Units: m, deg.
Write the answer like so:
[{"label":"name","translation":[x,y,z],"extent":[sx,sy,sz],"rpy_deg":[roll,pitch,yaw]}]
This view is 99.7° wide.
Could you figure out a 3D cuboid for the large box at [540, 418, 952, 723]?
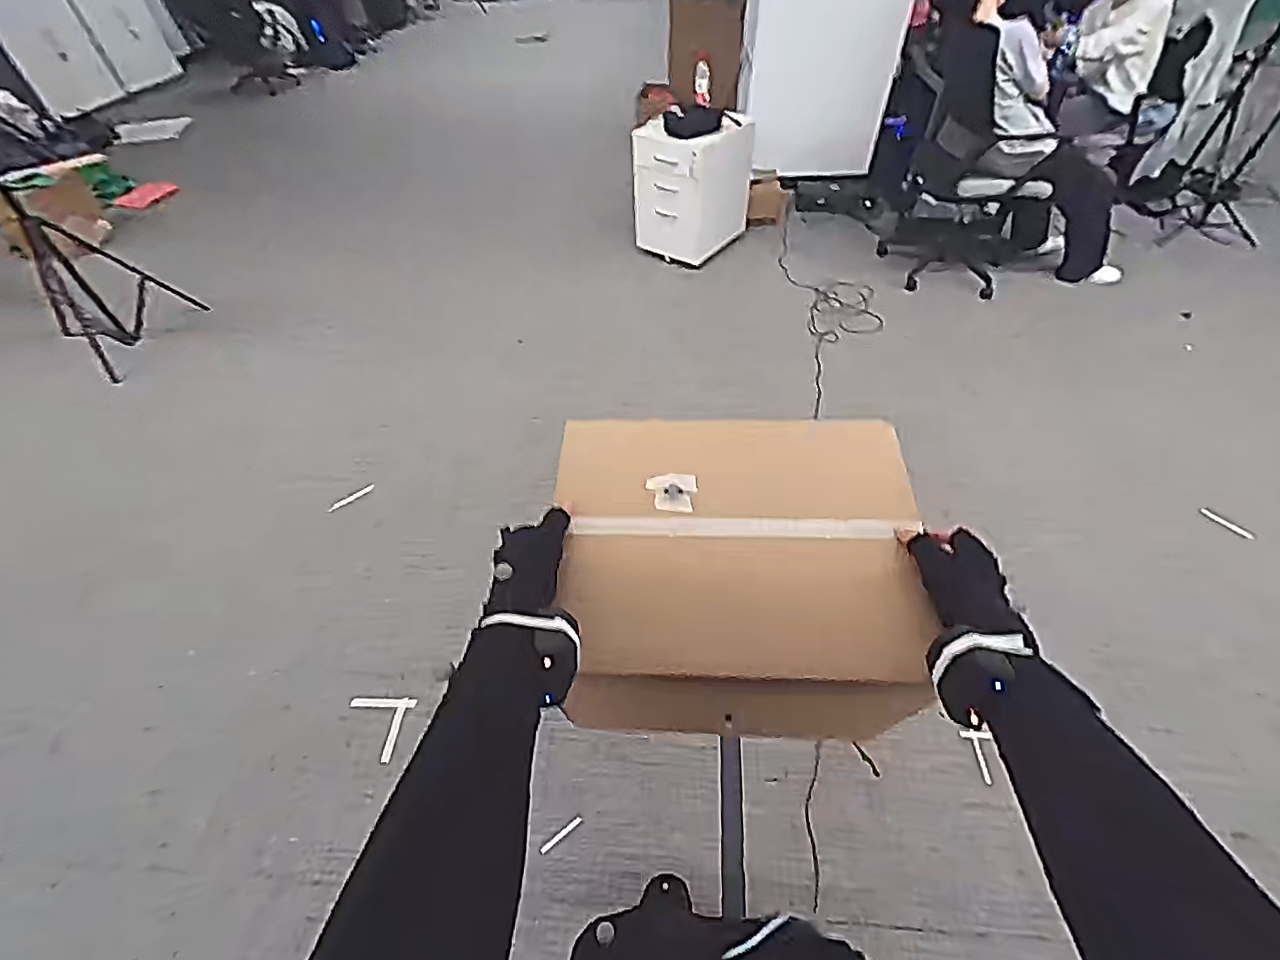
[{"label":"large box","translation":[0.115,0.134,0.726],"extent":[0.408,0.320,0.320],"rpy_deg":[0,55,5]}]
